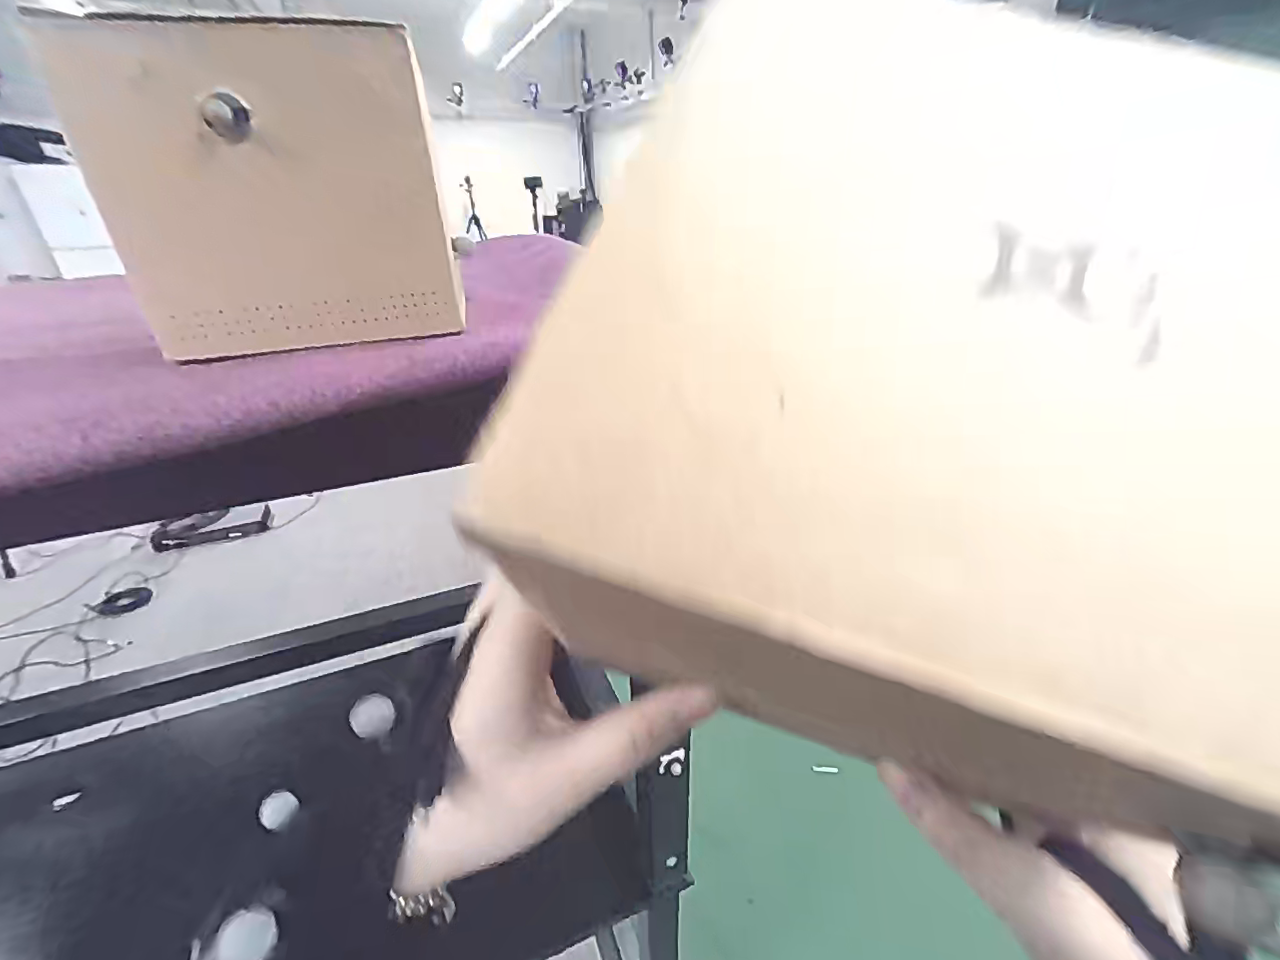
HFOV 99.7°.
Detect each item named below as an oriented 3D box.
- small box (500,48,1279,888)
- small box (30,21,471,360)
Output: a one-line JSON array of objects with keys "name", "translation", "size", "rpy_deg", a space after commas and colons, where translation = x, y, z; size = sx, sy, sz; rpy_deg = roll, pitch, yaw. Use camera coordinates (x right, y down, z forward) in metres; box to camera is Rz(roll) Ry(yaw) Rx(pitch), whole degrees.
[{"name": "small box", "translation": [0.081, 0.007, 0.184], "size": [0.179, 0.176, 0.168], "rpy_deg": [18, 67, 6]}, {"name": "small box", "translation": [-0.224, -0.187, 0.378], "size": [0.179, 0.176, 0.168], "rpy_deg": [-10, 28, -14]}]
